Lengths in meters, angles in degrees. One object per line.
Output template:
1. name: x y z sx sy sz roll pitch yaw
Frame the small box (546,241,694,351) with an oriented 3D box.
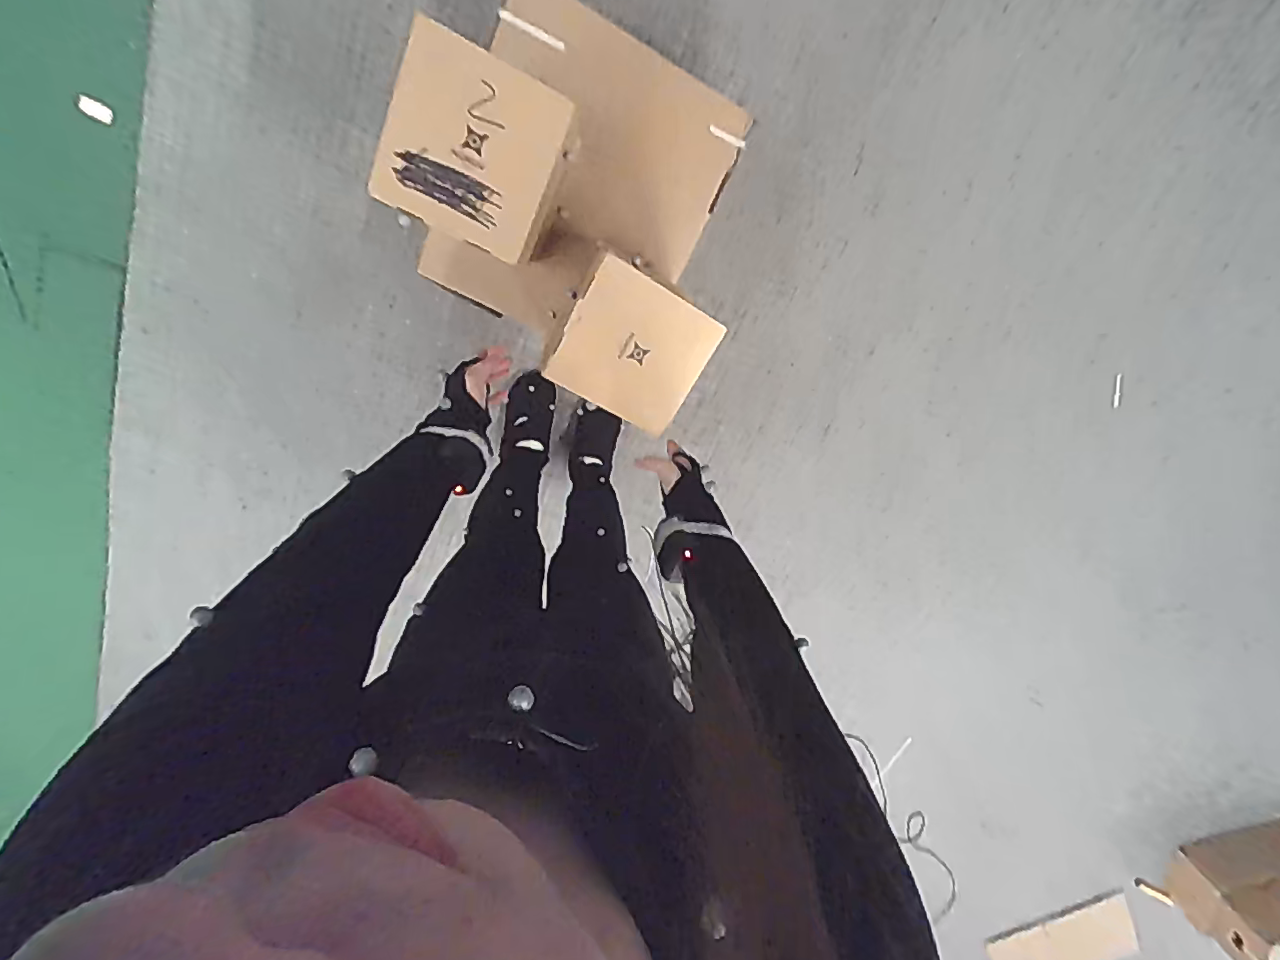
1. small box: -0.038 -0.261 0.876 0.168 0.176 0.179 26 107 -18

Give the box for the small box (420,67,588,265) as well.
1. small box: -0.189 -0.436 0.784 0.168 0.176 0.179 26 106 -15

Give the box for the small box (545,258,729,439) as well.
1. small box: -0.013 -0.186 0.733 0.179 0.176 0.168 26 107 -18
